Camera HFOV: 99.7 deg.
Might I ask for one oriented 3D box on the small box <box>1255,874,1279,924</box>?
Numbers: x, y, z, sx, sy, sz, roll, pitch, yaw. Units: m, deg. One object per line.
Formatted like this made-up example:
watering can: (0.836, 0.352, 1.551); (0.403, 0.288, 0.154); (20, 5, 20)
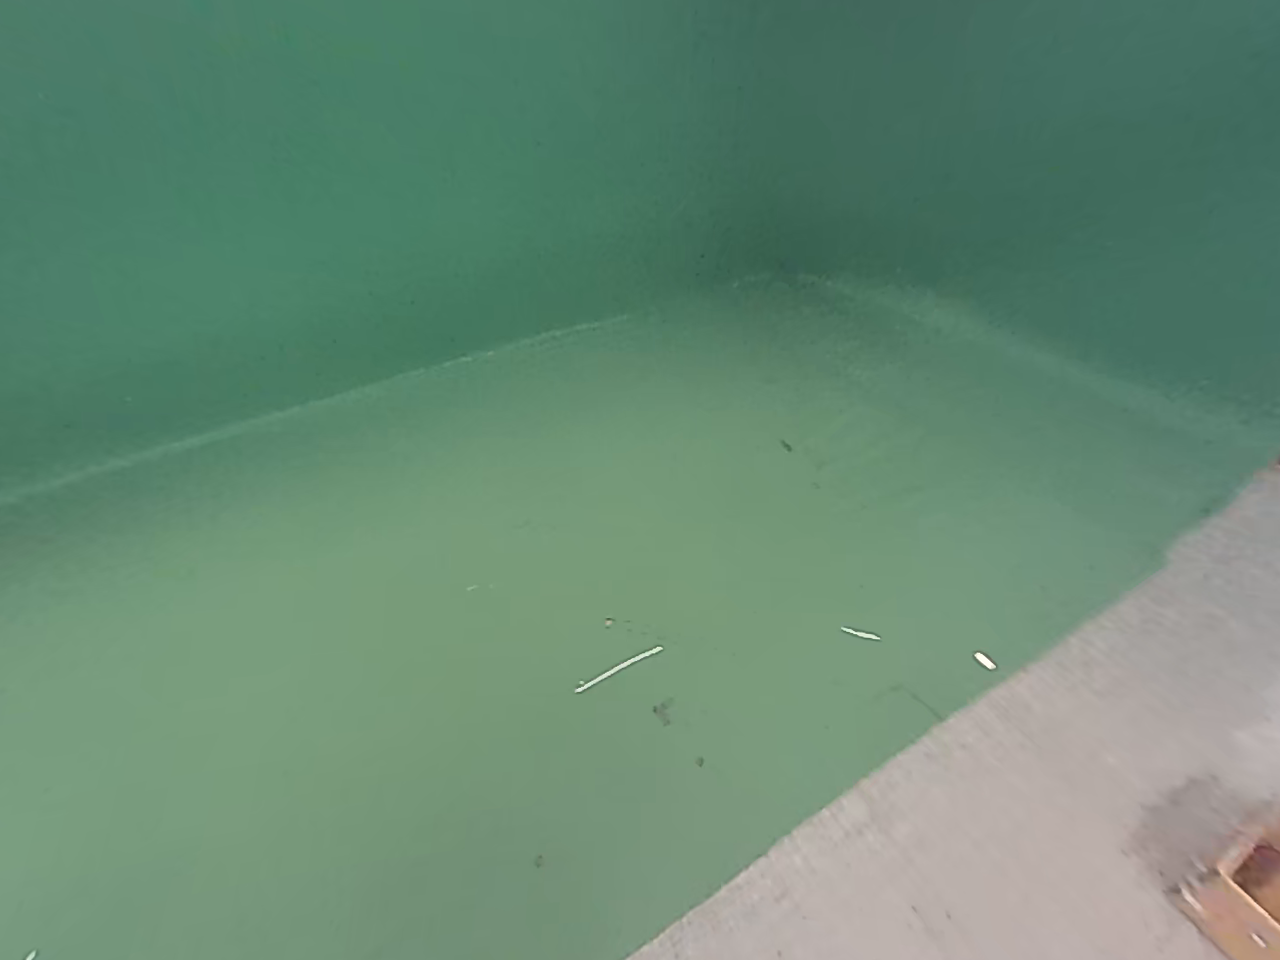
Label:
small box: (1.456, 0.895, 1.115); (0.179, 0.176, 0.168); (-13, 42, -11)
